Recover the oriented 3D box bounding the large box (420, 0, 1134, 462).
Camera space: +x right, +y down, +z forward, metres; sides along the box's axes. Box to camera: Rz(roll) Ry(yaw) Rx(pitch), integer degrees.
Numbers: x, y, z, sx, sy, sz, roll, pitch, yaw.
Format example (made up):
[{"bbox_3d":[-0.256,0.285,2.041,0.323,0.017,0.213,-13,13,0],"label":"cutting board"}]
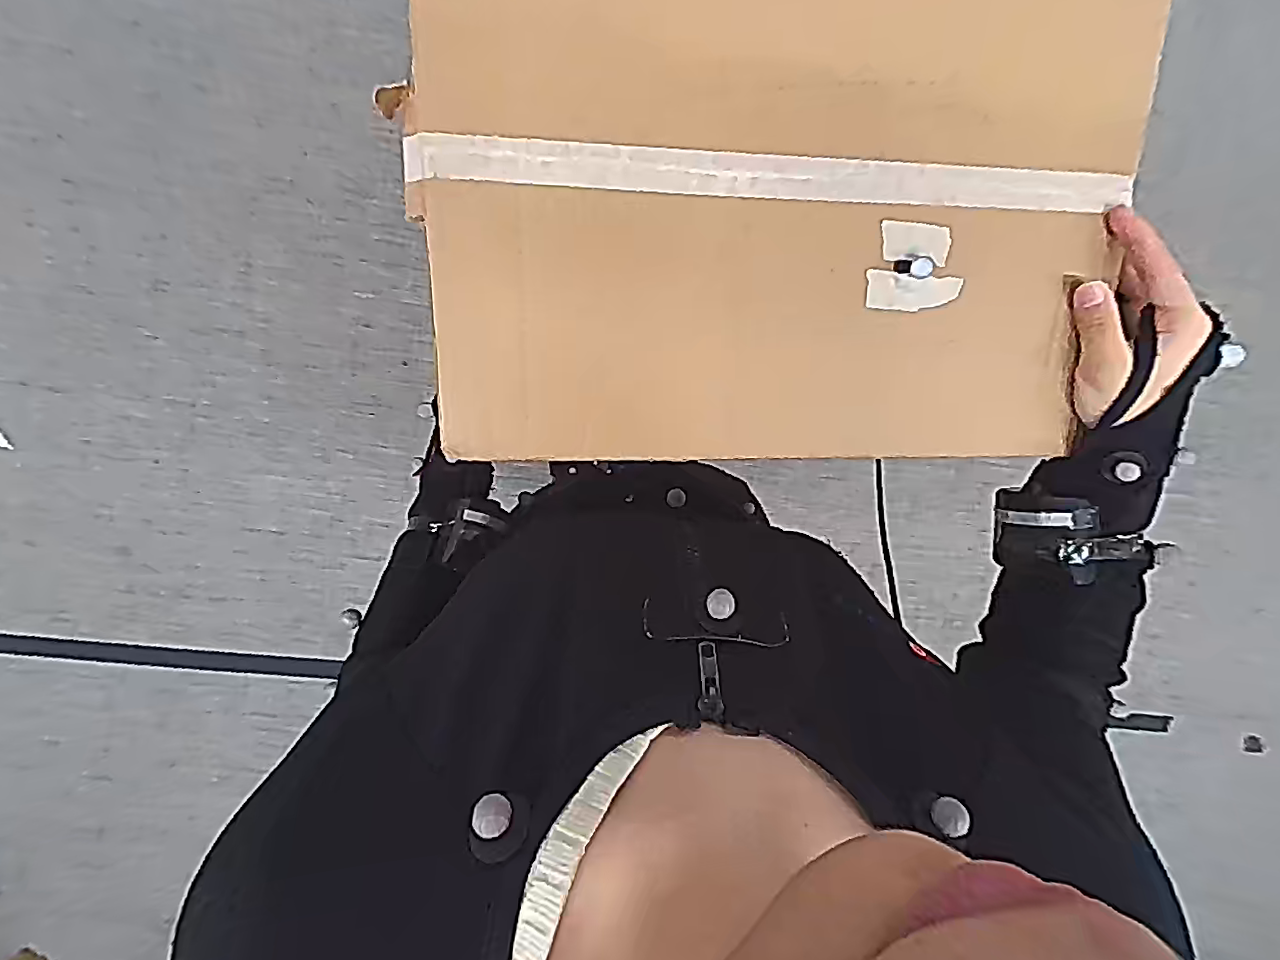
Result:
[{"bbox_3d":[0.066,-0.200,0.453,0.408,0.320,0.320,-1,104,-8],"label":"large box"}]
